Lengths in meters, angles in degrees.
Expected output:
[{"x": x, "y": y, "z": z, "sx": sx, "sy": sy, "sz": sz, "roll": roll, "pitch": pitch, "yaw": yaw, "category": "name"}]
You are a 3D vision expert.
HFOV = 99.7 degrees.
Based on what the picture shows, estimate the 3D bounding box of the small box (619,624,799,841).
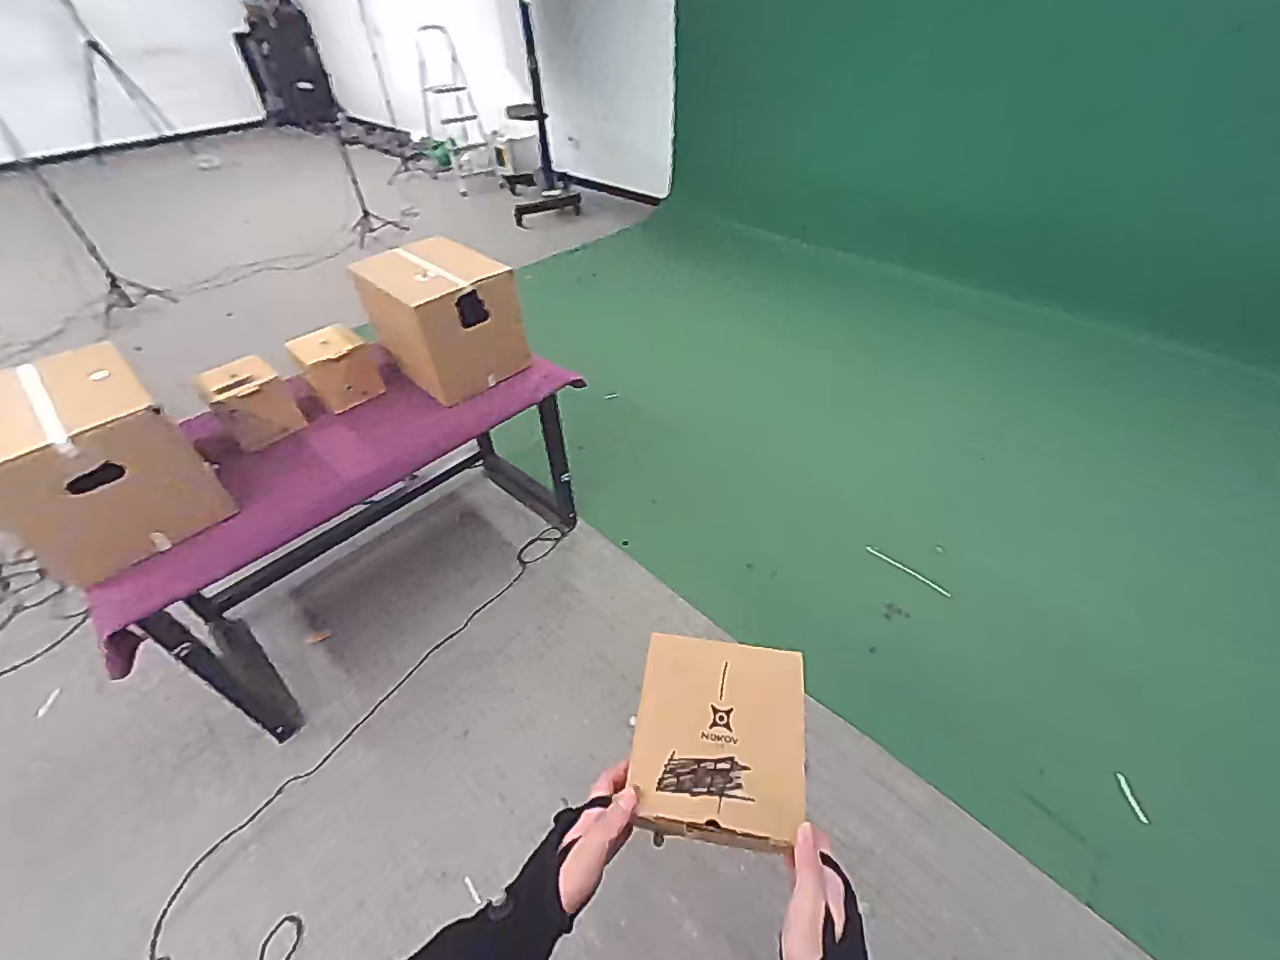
[{"x": 0.078, "y": 0.283, "z": 0.598, "sx": 0.168, "sy": 0.176, "sz": 0.179, "roll": 6, "pitch": 53, "yaw": 7, "category": "small box"}]

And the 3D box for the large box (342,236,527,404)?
[{"x": -0.598, "y": -0.486, "z": 1.613, "sx": 0.408, "sy": 0.320, "sz": 0.320, "roll": 33, "pitch": 55, "yaw": 30, "category": "large box"}]
